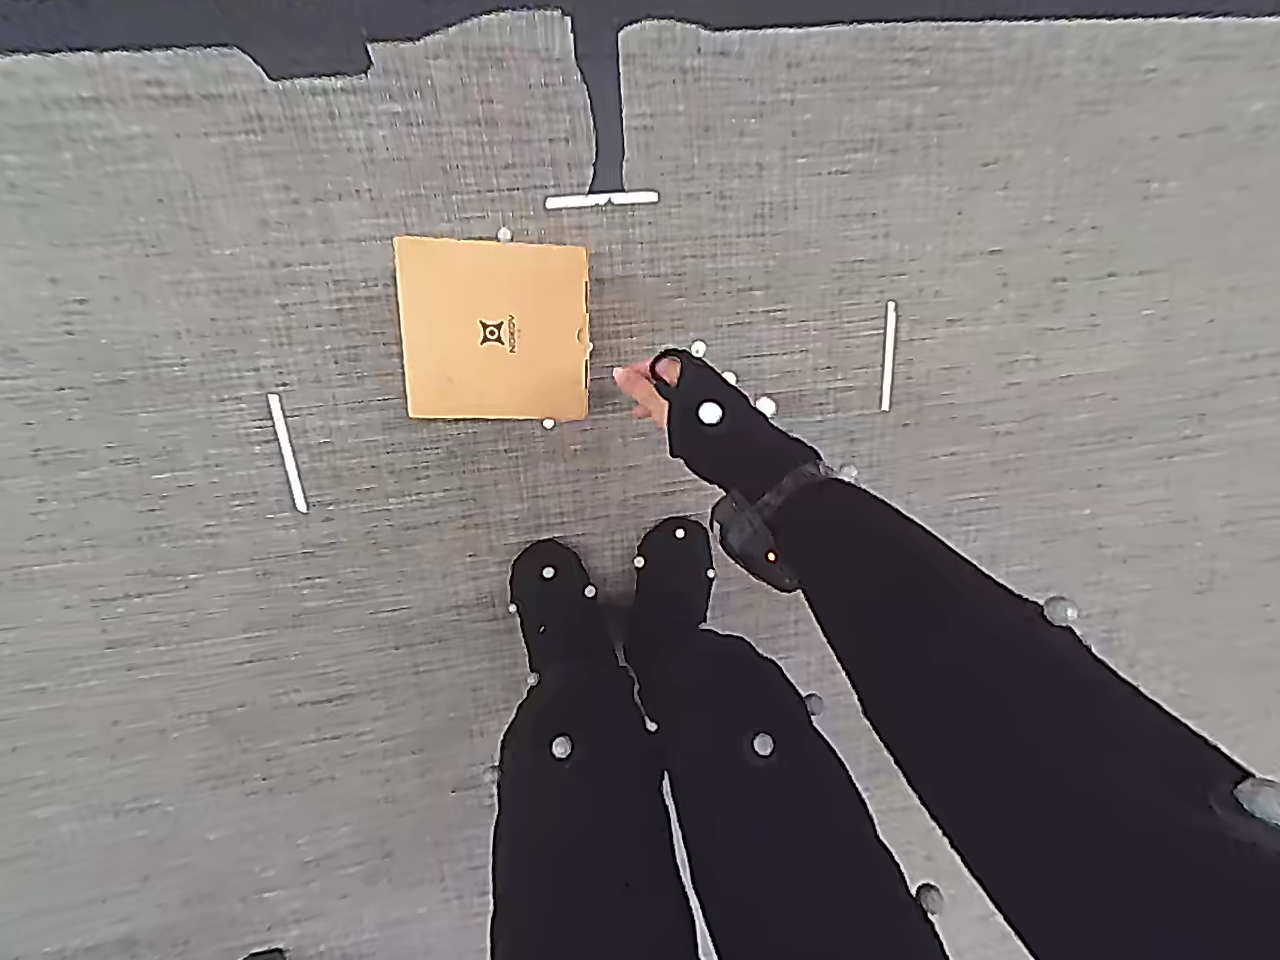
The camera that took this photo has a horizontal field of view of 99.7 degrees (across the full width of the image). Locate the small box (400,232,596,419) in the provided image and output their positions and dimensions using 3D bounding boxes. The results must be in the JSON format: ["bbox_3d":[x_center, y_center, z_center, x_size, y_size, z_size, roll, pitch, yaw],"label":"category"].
[{"bbox_3d":[-0.141,-0.161,0.584,0.179,0.176,0.168,-1,106,-10],"label":"small box"}]
